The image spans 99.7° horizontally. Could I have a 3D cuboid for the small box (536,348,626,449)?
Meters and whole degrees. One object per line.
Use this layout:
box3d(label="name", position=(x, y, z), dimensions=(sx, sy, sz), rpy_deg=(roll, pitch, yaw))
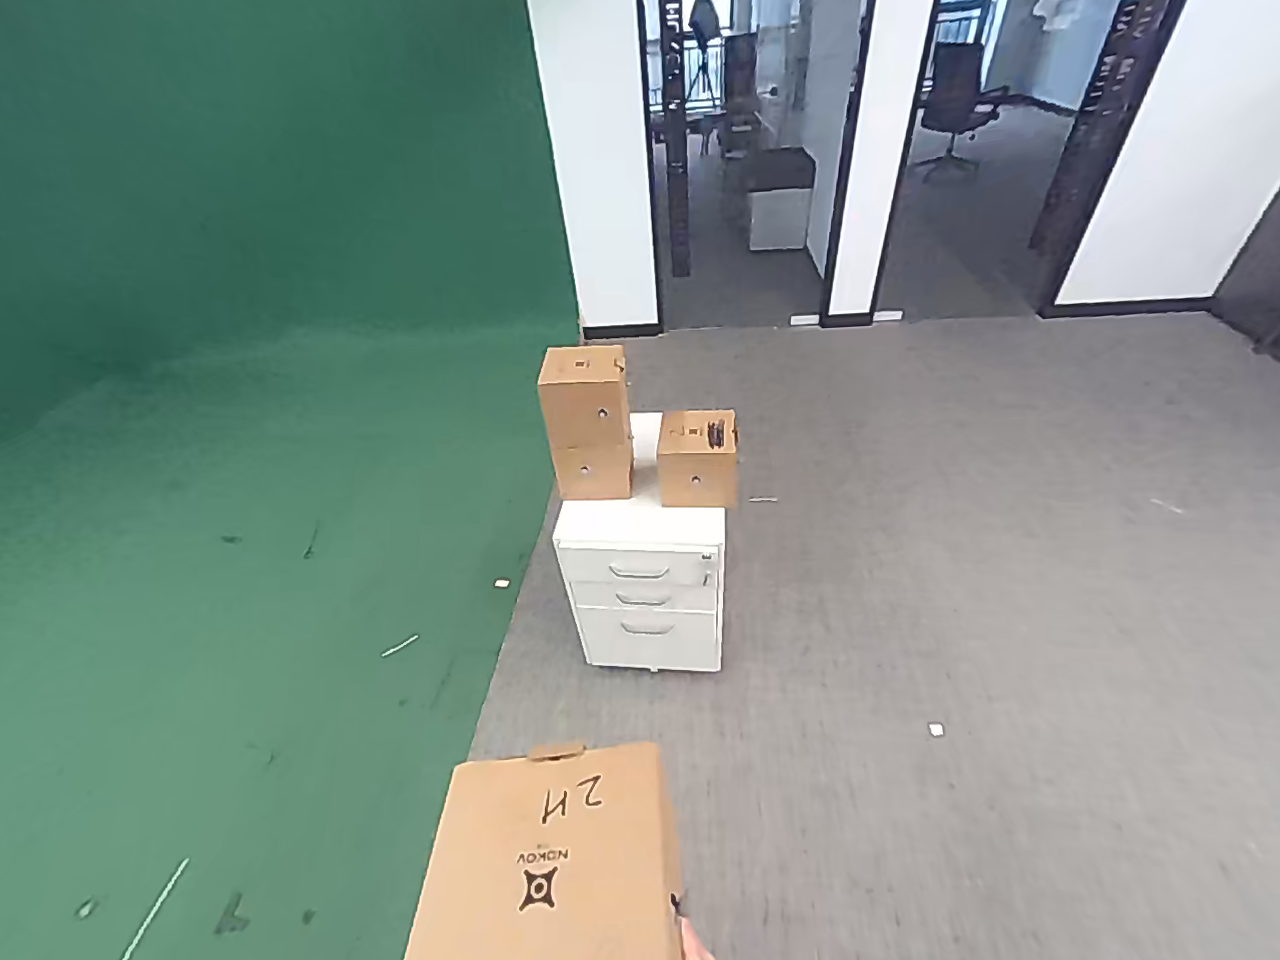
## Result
box3d(label="small box", position=(-0.124, -0.184, 1.229), dimensions=(0.179, 0.176, 0.168), rpy_deg=(-2, 40, 3))

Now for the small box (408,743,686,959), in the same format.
box3d(label="small box", position=(-0.053, 0.335, 0.409), dimensions=(0.168, 0.176, 0.179), rpy_deg=(-7, 31, 2))

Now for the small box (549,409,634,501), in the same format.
box3d(label="small box", position=(-0.113, -0.060, 1.335), dimensions=(0.179, 0.176, 0.168), rpy_deg=(-2, 42, 4))
